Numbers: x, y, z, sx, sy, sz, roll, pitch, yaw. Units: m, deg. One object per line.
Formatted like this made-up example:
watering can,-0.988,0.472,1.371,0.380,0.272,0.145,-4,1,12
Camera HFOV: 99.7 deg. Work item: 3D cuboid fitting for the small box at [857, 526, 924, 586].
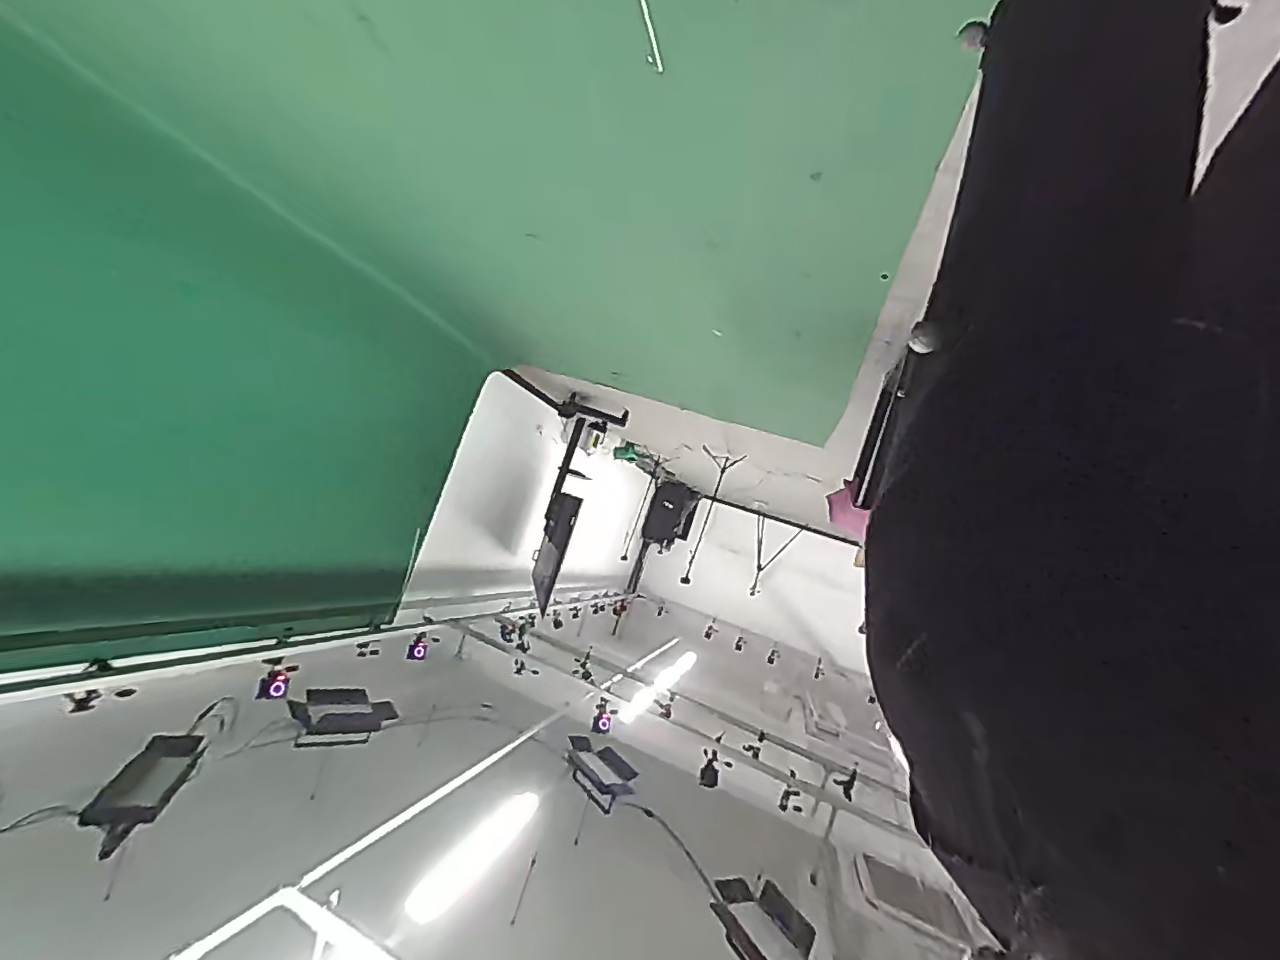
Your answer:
small box,0.907,0.271,1.958,0.168,0.176,0.179,17,176,16
